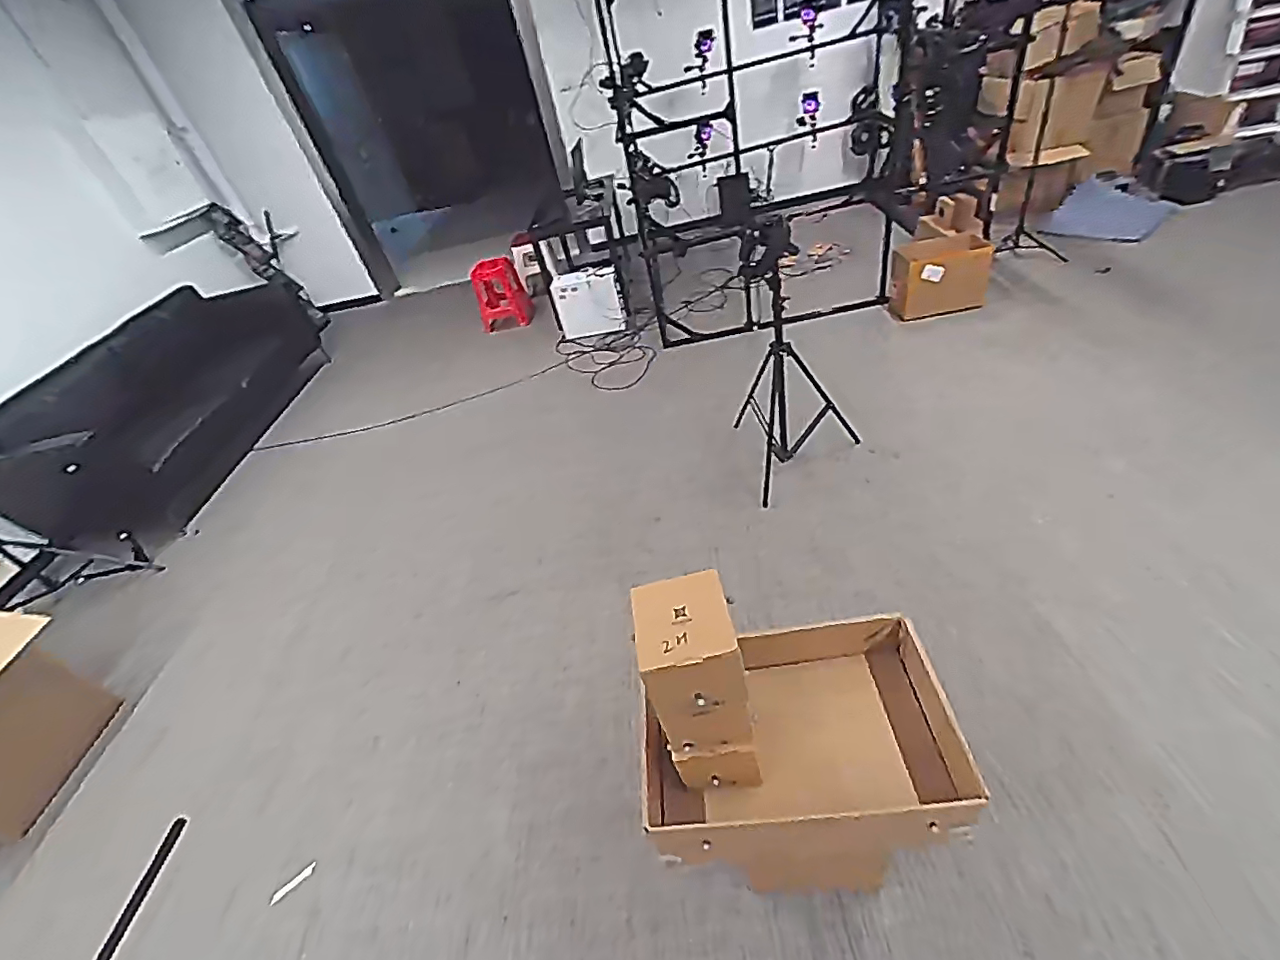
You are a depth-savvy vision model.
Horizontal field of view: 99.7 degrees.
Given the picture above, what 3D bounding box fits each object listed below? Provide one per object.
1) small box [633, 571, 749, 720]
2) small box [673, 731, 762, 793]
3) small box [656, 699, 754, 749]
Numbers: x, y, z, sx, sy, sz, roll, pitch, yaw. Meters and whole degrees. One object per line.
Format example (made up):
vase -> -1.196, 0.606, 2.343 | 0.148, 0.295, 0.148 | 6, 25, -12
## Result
small box -> 0.090, 0.296, 0.966 | 0.168, 0.176, 0.179 | -14, 40, 4
small box -> 0.161, 0.545, 1.168 | 0.168, 0.176, 0.179 | -12, 39, 7
small box -> 0.126, 0.414, 1.075 | 0.168, 0.176, 0.179 | -11, 39, 7
